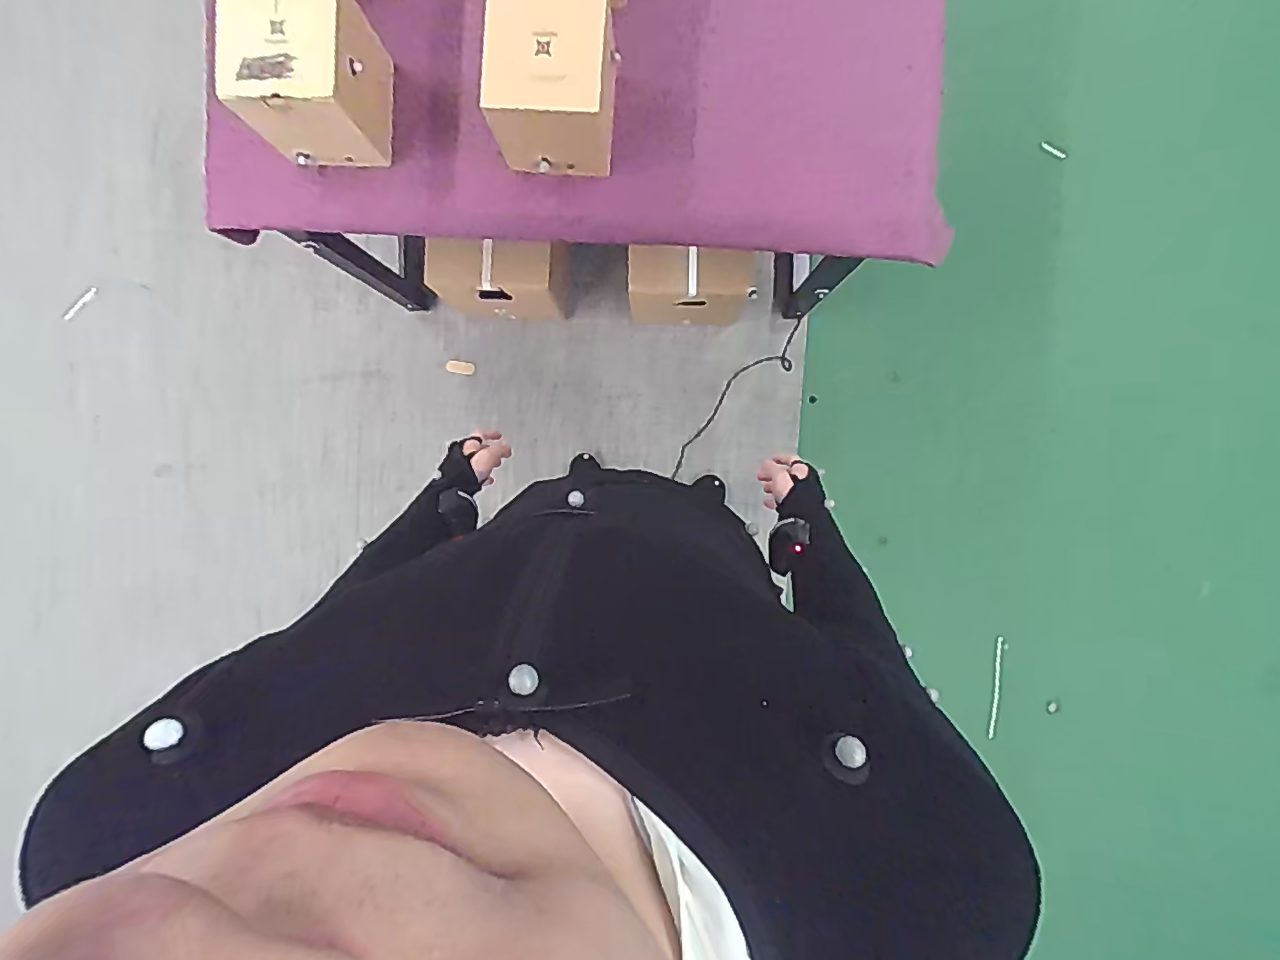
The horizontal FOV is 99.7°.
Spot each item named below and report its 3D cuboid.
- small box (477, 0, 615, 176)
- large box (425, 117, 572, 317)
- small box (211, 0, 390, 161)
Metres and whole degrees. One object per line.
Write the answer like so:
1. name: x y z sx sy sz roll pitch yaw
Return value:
1. small box: -0.128 -0.587 0.799 0.168 0.176 0.179 5 92 2
2. large box: -0.363 -0.680 1.462 0.320 0.320 0.408 3 92 0
3. small box: -0.490 -0.605 0.803 0.168 0.176 0.179 2 91 1
